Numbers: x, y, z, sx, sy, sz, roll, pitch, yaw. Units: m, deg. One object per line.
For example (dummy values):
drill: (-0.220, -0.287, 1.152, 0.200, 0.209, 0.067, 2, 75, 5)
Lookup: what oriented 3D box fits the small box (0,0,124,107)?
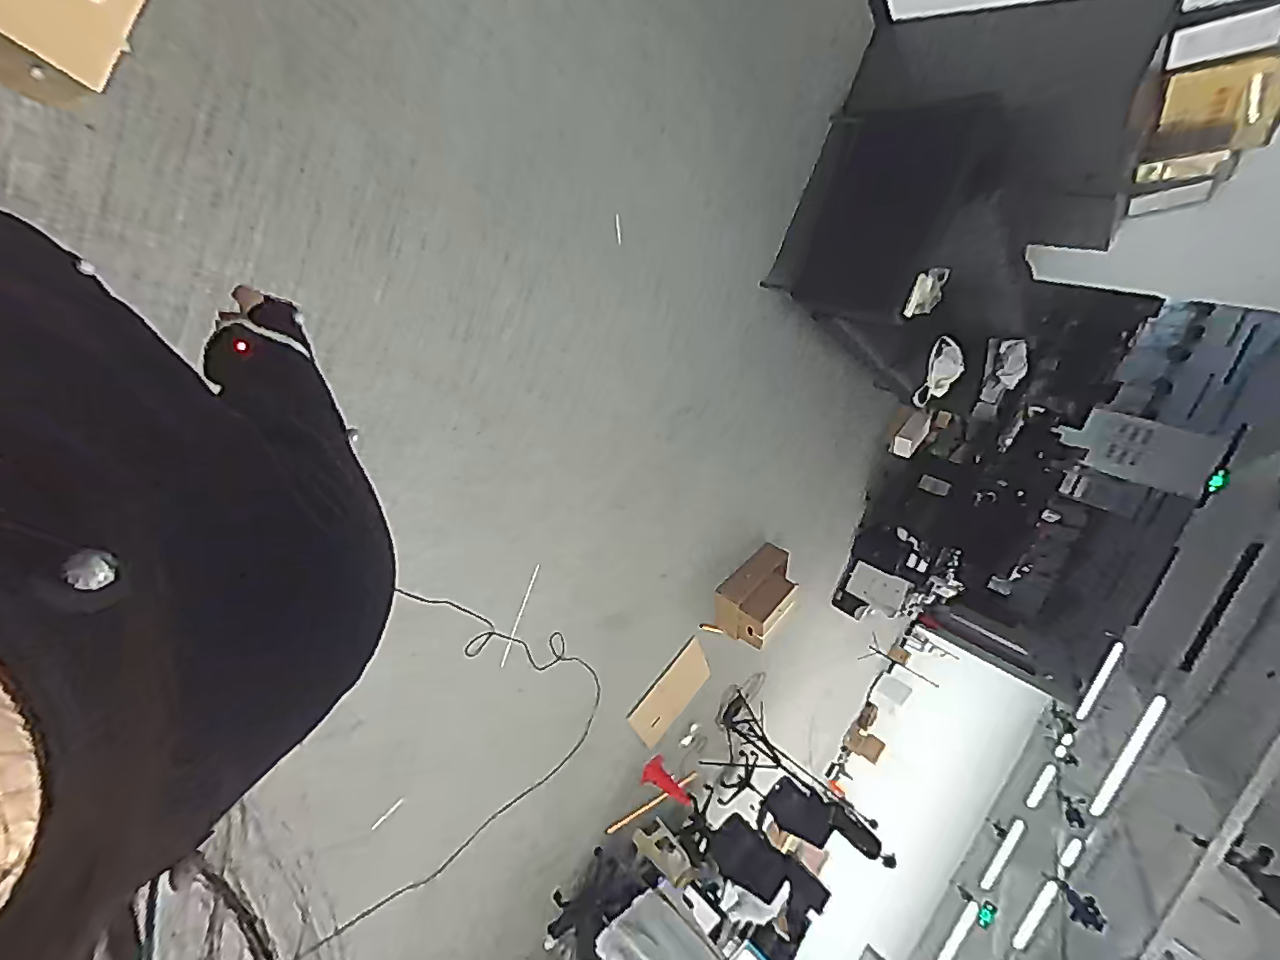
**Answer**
small box: (-0.735, -0.574, 0.626, 0.168, 0.176, 0.179, 17, 97, -54)
